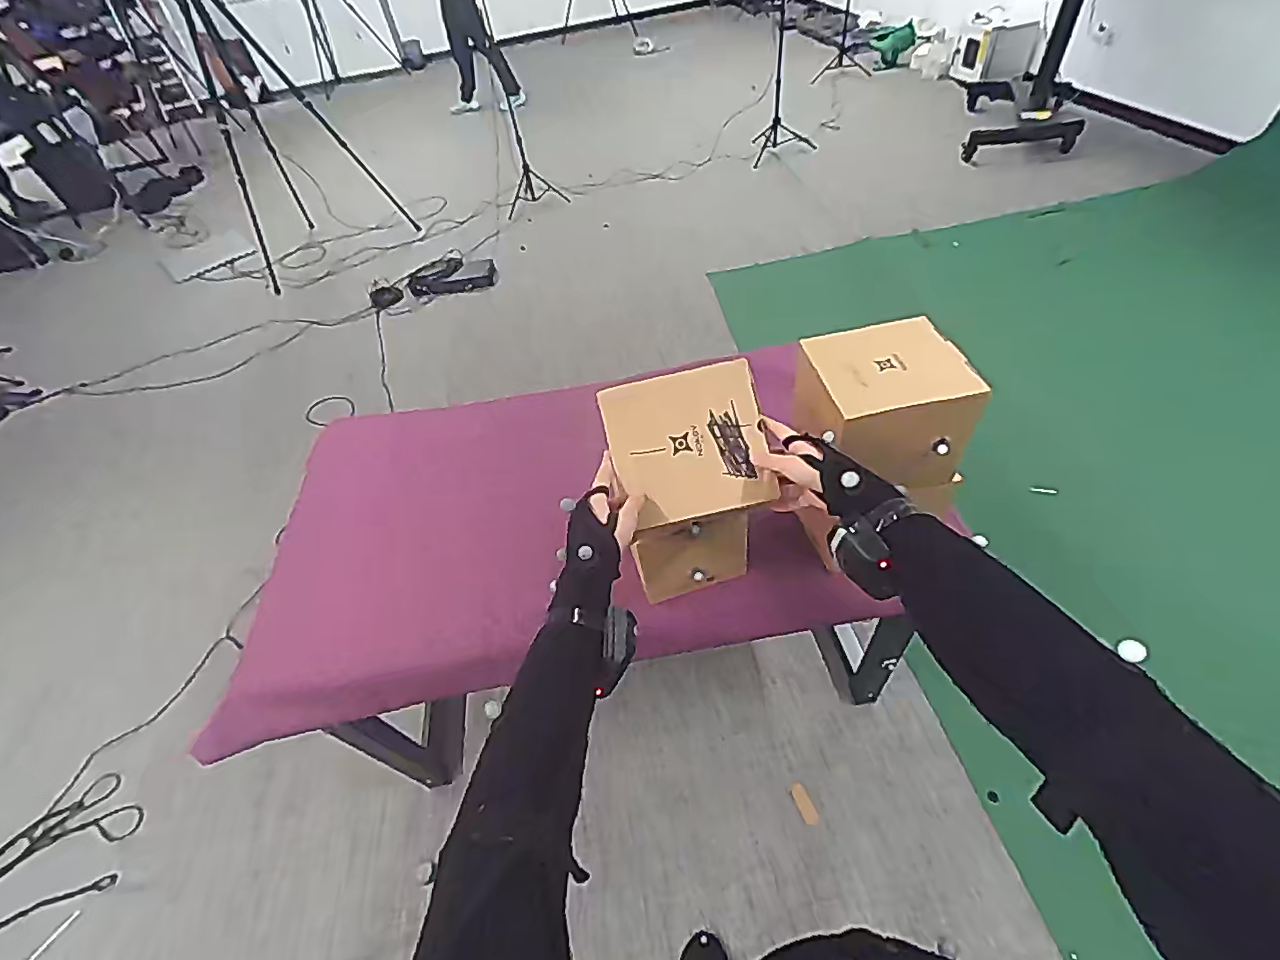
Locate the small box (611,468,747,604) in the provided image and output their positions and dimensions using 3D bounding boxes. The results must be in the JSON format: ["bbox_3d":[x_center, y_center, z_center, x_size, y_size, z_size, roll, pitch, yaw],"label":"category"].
[{"bbox_3d":[0.061,0.067,0.865,0.168,0.176,0.179,-17,47,-4],"label":"small box"}]

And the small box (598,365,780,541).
[{"bbox_3d":[0.054,-0.023,0.675,0.179,0.176,0.168,-13,80,0],"label":"small box"}]

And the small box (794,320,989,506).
[{"bbox_3d":[0.321,-0.087,0.735,0.179,0.176,0.168,-11,48,2],"label":"small box"}]

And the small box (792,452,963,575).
[{"bbox_3d":[0.356,0.023,0.851,0.179,0.176,0.168,-15,48,-3],"label":"small box"}]
